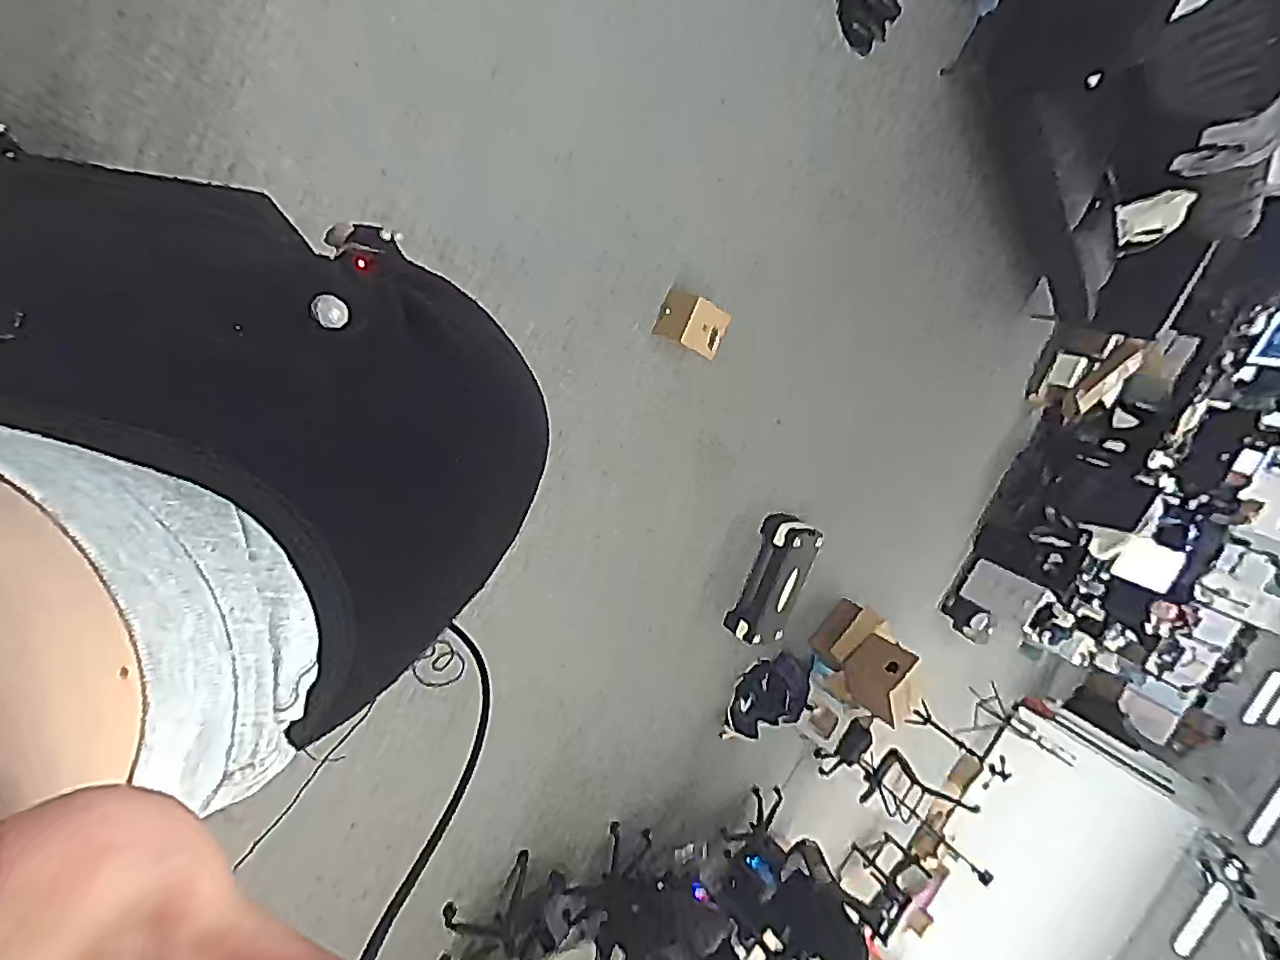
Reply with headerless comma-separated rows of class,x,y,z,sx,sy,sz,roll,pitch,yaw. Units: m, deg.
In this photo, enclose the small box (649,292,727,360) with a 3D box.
small box,0.165,-0.546,1.903,0.179,0.176,0.168,17,101,-42
